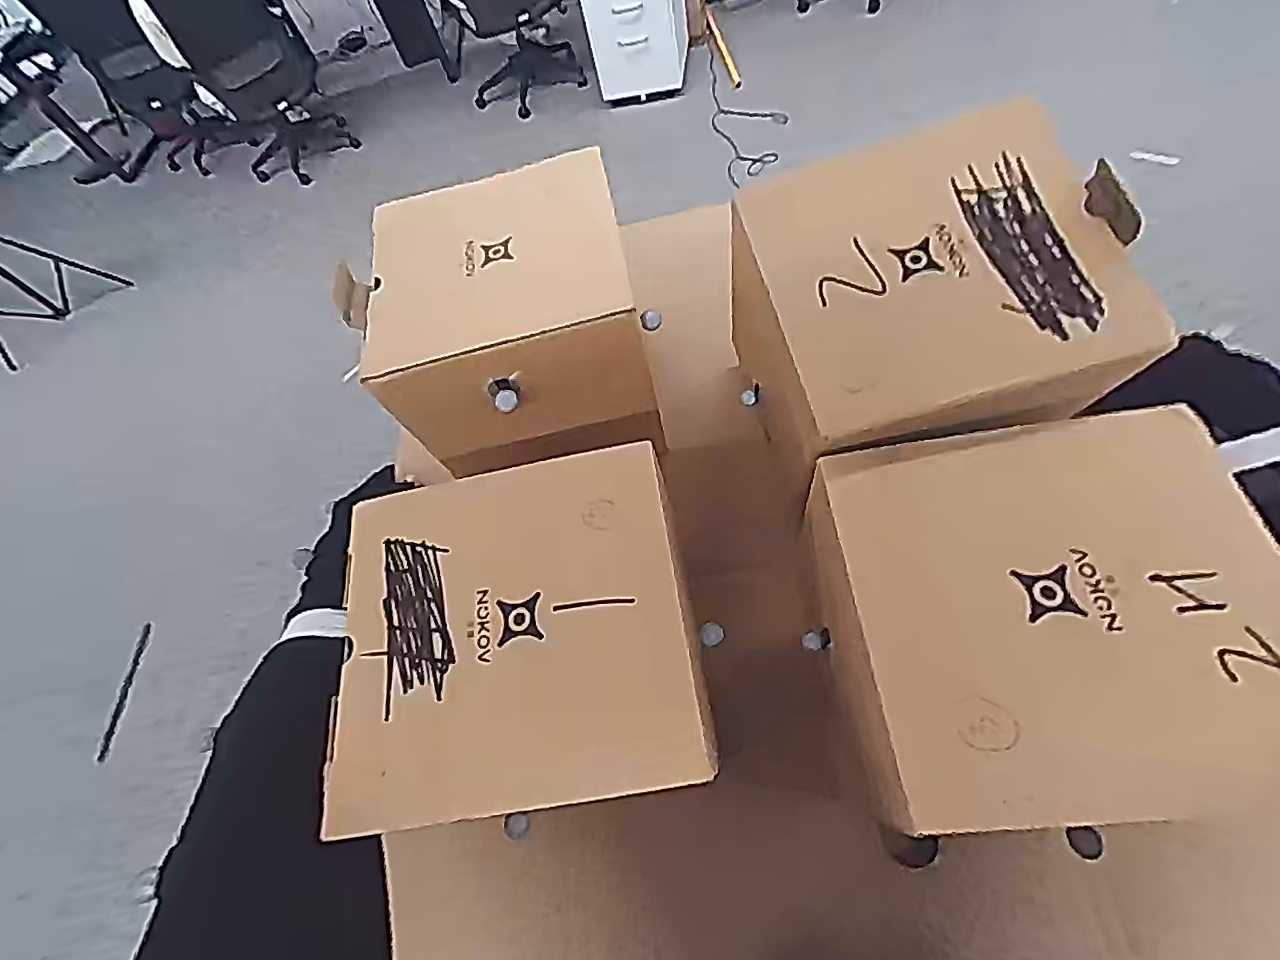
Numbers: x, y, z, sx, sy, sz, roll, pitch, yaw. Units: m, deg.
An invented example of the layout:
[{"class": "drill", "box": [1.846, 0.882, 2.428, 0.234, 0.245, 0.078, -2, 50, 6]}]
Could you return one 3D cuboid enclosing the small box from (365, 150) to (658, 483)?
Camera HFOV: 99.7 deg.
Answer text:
[{"class": "small box", "box": [-0.087, -0.118, 0.438, 0.179, 0.176, 0.168, -14, 61, 5]}]
